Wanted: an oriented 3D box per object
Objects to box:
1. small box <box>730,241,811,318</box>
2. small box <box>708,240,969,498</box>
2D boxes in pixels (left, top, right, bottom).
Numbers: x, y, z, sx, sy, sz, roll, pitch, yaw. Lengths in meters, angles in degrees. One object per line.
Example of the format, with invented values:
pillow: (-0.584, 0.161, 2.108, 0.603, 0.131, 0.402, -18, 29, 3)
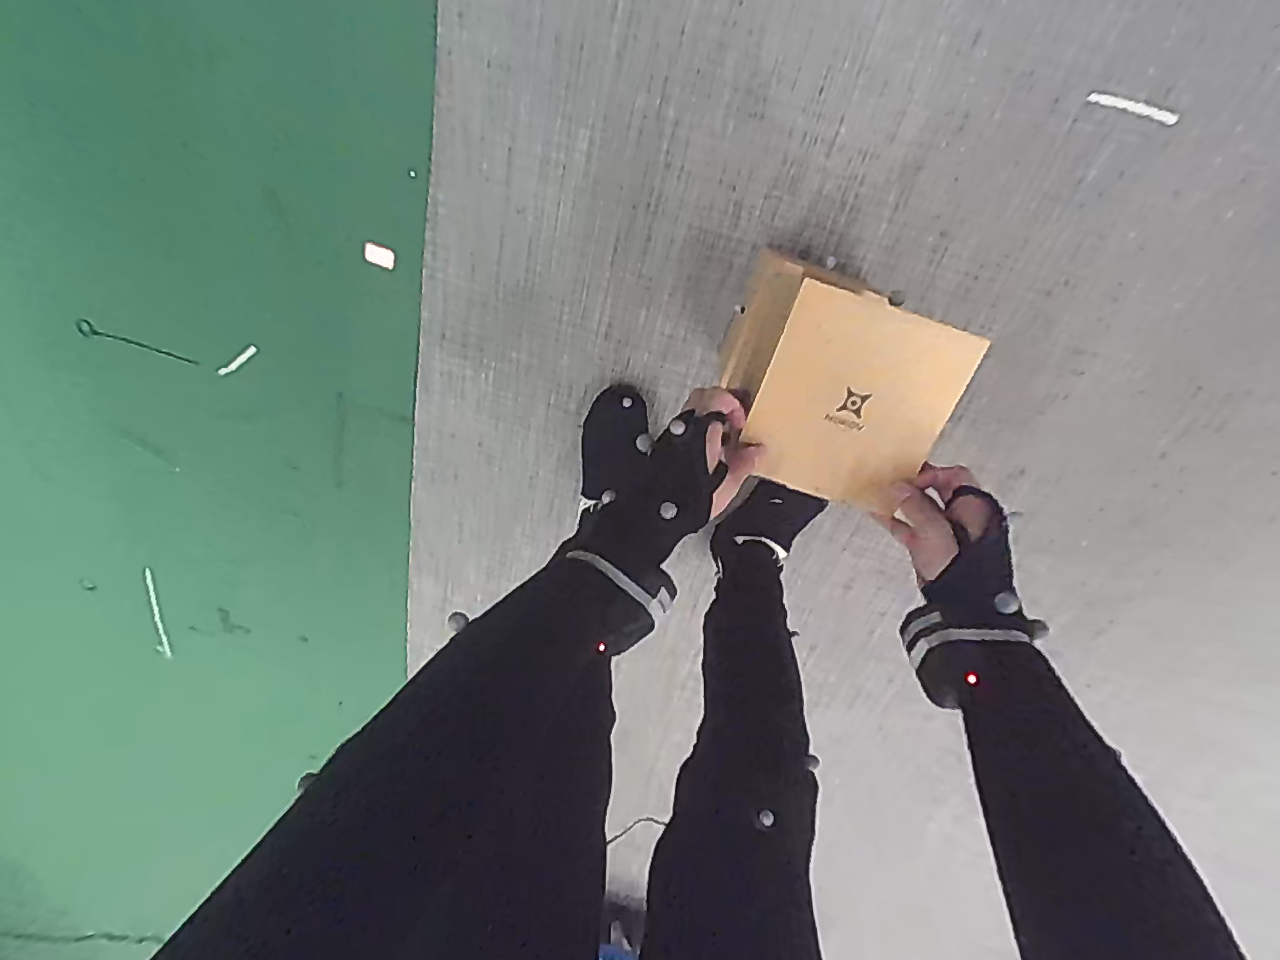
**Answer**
small box: (0.217, -0.215, 0.755, 0.168, 0.176, 0.179, 20, 119, -2)
small box: (0.184, -0.119, 0.556, 0.168, 0.176, 0.179, -37, 105, 21)
